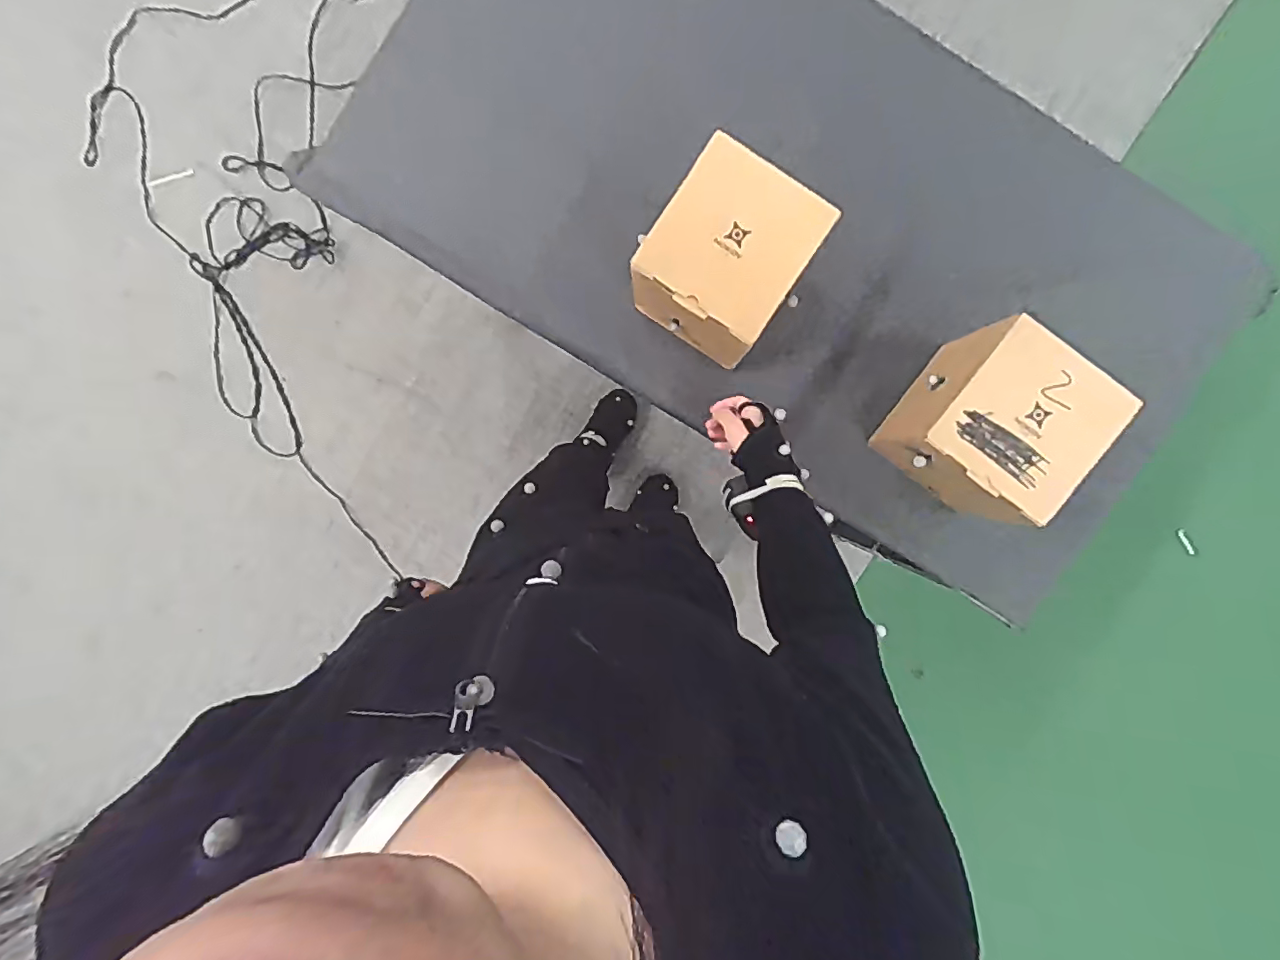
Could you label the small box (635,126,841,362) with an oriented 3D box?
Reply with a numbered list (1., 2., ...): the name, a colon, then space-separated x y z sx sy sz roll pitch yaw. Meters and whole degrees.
1. small box: 0.105 -0.271 0.667 0.168 0.176 0.179 34 92 -2
